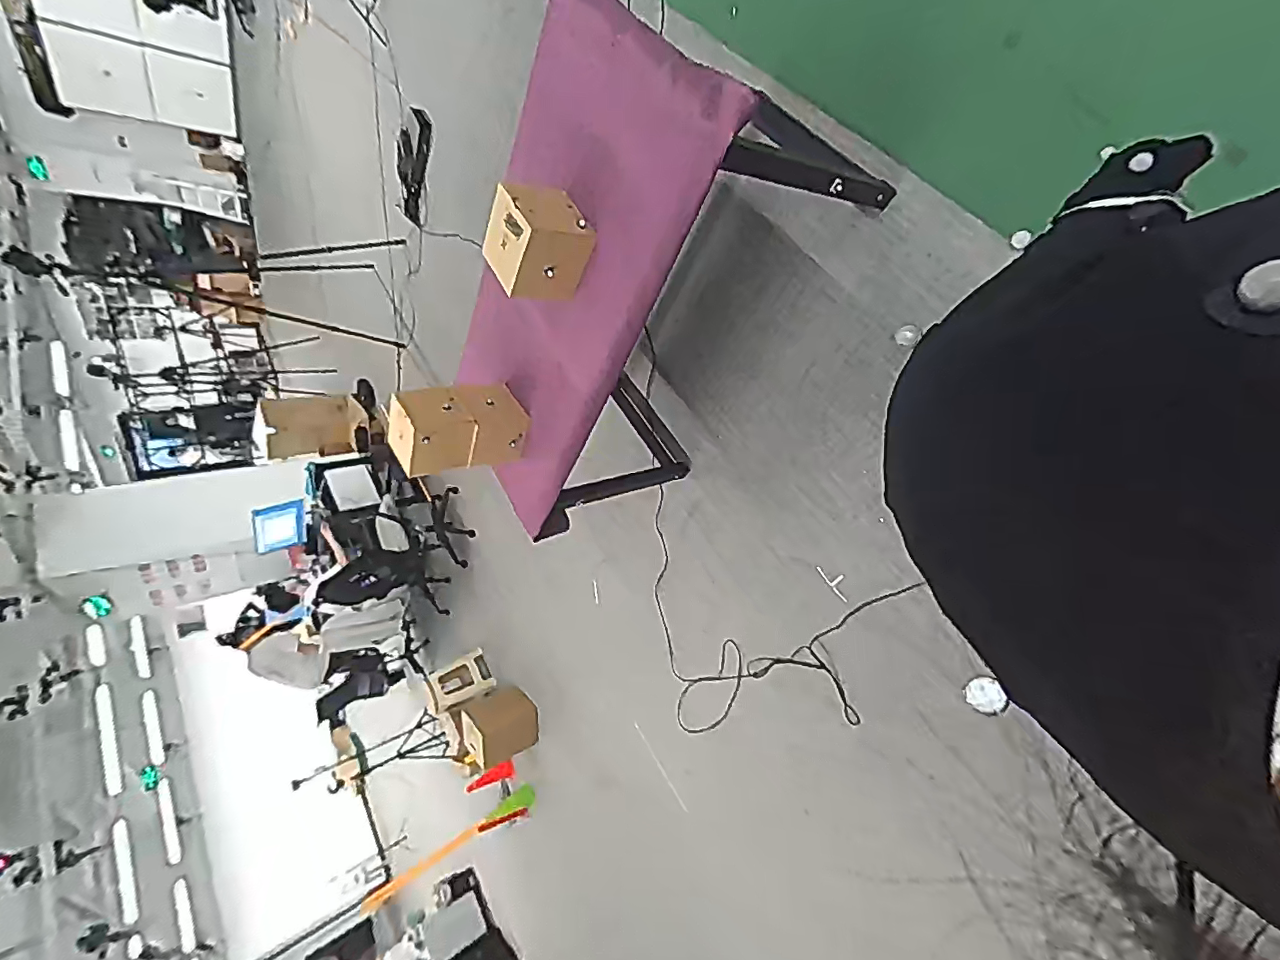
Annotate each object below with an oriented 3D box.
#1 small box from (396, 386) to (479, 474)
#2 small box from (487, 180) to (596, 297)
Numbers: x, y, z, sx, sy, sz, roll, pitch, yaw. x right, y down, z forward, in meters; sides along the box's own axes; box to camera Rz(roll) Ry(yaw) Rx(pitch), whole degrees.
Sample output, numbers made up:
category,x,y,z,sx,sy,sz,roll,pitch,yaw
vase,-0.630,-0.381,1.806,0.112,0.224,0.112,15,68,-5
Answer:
category,x,y,z,sx,sy,sz,roll,pitch,yaw
small box,-0.565,-0.143,1.508,0.168,0.176,0.179,49,133,29
small box,-0.220,-0.541,1.230,0.179,0.176,0.168,-49,61,45
